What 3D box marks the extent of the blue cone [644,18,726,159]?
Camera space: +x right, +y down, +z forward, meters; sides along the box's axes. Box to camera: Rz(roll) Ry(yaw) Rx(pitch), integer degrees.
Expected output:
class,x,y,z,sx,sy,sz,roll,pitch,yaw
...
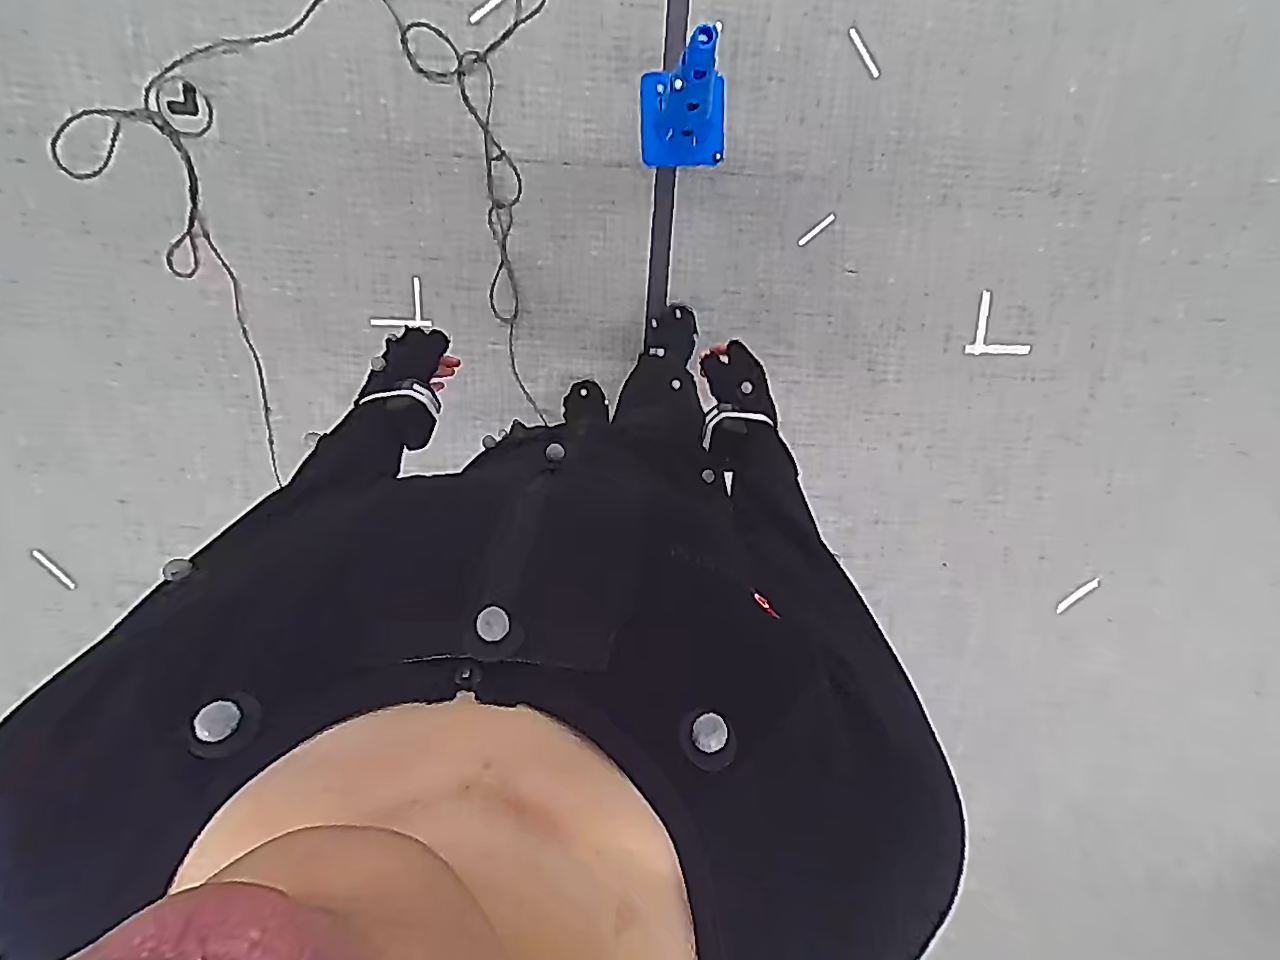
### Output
class,x,y,z,sx,sy,sz,roll,pitch,yaw
blue cone,0.113,-0.828,1.121,0.192,0.380,0.193,-1,103,-3
